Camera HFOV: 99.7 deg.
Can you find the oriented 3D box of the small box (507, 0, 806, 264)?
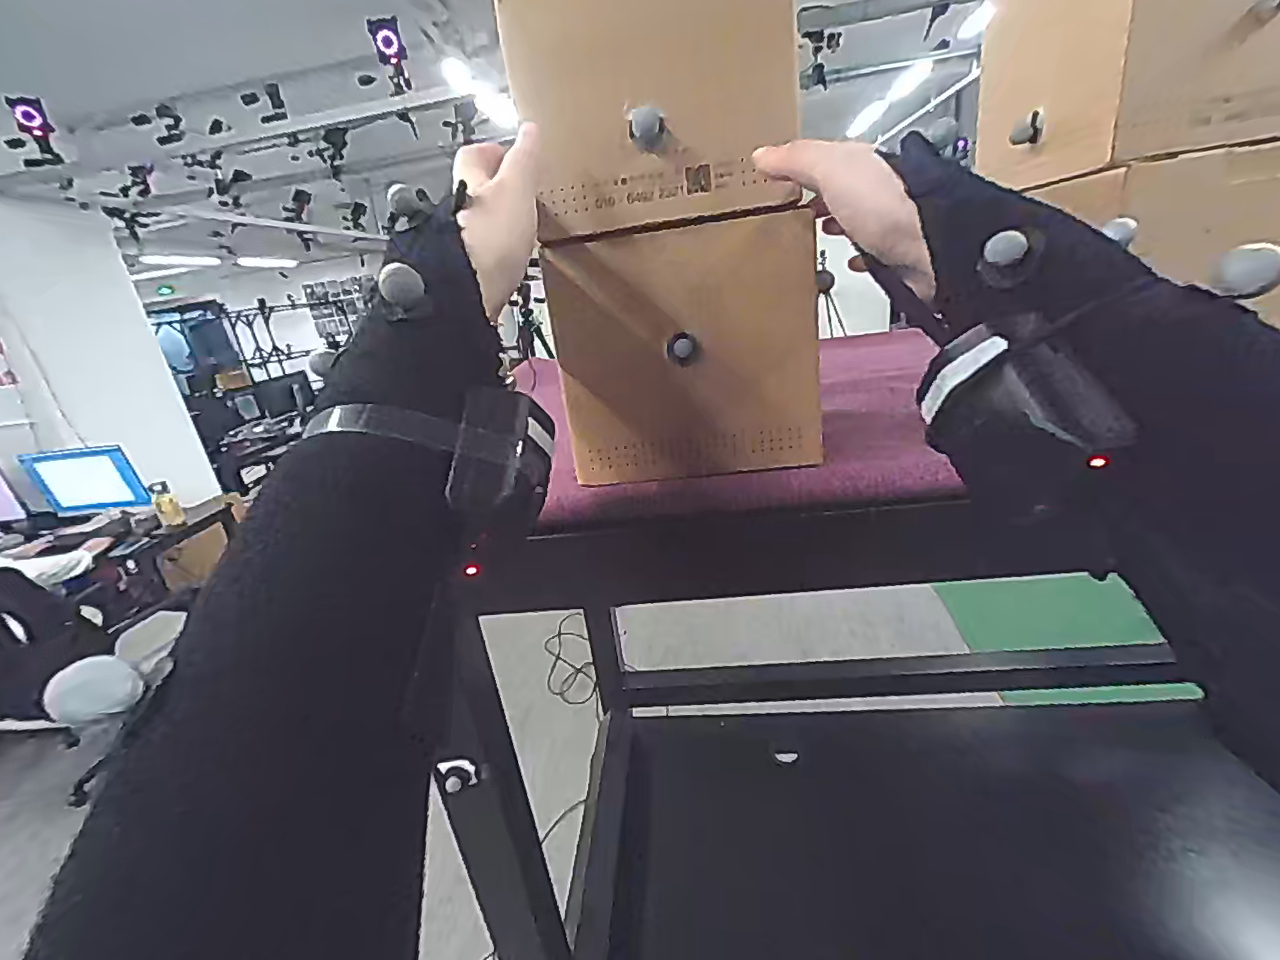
[{"bbox_3d":[0.014,-0.253,0.381,0.168,0.176,0.179,-7,19,5],"label":"small box"}]

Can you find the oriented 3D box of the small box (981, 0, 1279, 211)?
[{"bbox_3d":[0.373,-0.303,0.384,0.168,0.176,0.179,-6,20,6],"label":"small box"}]
